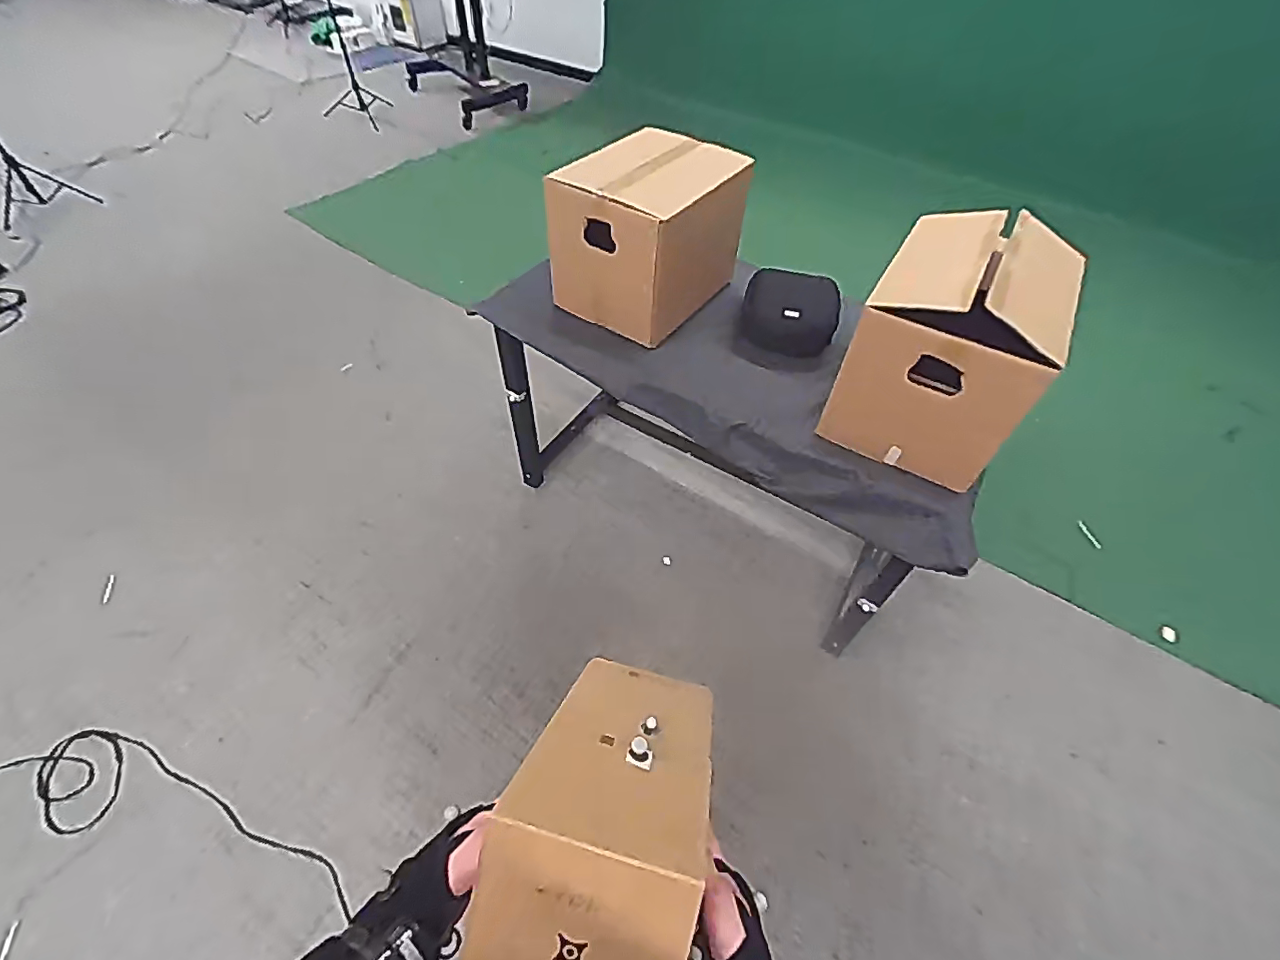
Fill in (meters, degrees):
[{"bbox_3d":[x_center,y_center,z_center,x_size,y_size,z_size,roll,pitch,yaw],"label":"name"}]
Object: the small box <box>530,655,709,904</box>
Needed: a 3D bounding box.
[{"bbox_3d":[-0.013,0.339,0.647,0.168,0.176,0.179,12,95,7],"label":"small box"}]
